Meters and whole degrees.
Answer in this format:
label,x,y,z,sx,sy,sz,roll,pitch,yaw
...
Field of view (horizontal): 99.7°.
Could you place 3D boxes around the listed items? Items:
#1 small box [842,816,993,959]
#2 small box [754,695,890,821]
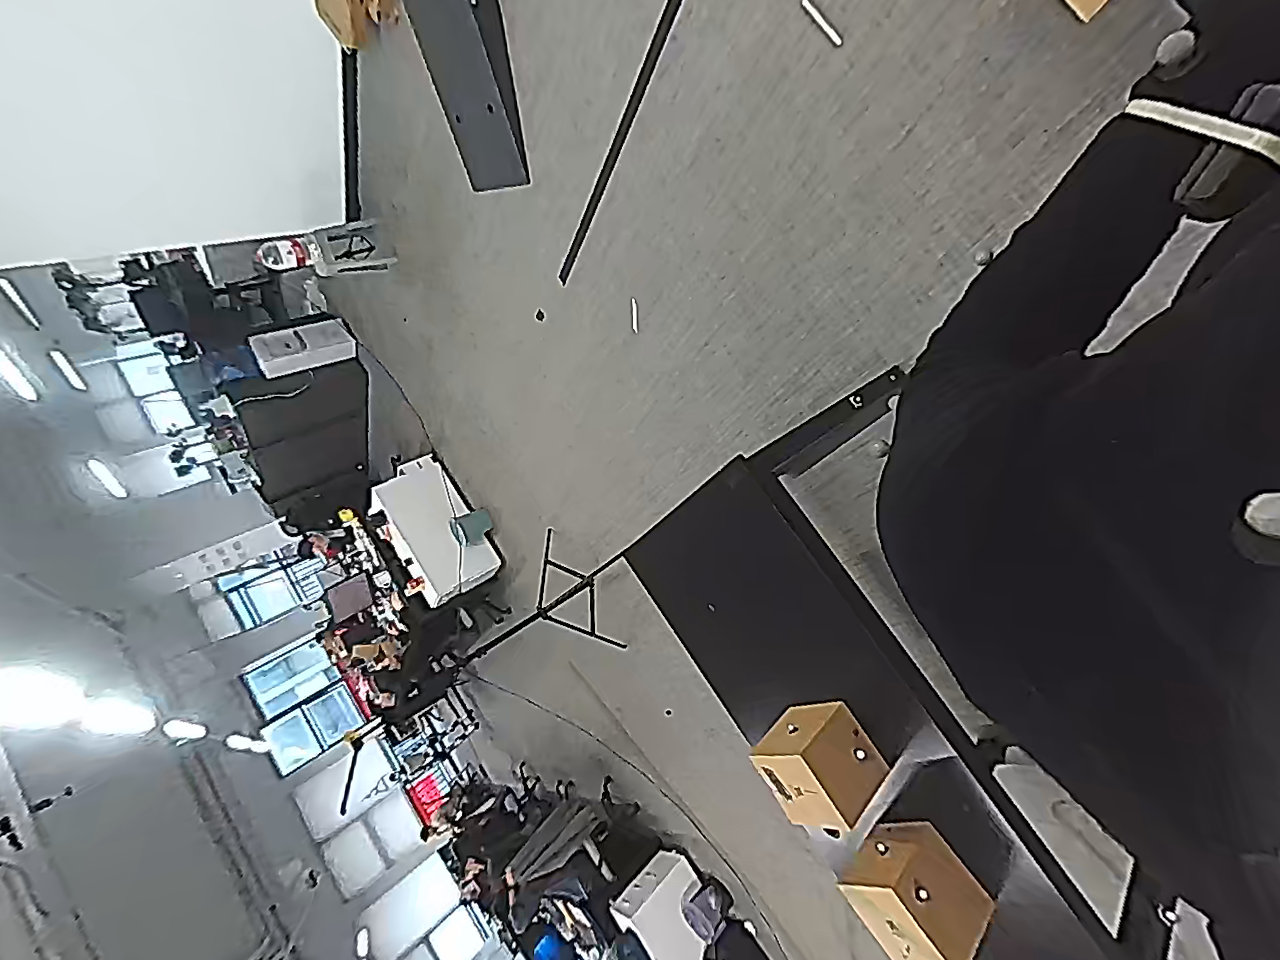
label,x,y,z,sx,sy,sz,roll,pitch,yaw
small box,0.555,0.806,1.085,0.179,0.176,0.168,51,145,14
small box,0.384,0.580,1.144,0.168,0.176,0.179,55,145,8
